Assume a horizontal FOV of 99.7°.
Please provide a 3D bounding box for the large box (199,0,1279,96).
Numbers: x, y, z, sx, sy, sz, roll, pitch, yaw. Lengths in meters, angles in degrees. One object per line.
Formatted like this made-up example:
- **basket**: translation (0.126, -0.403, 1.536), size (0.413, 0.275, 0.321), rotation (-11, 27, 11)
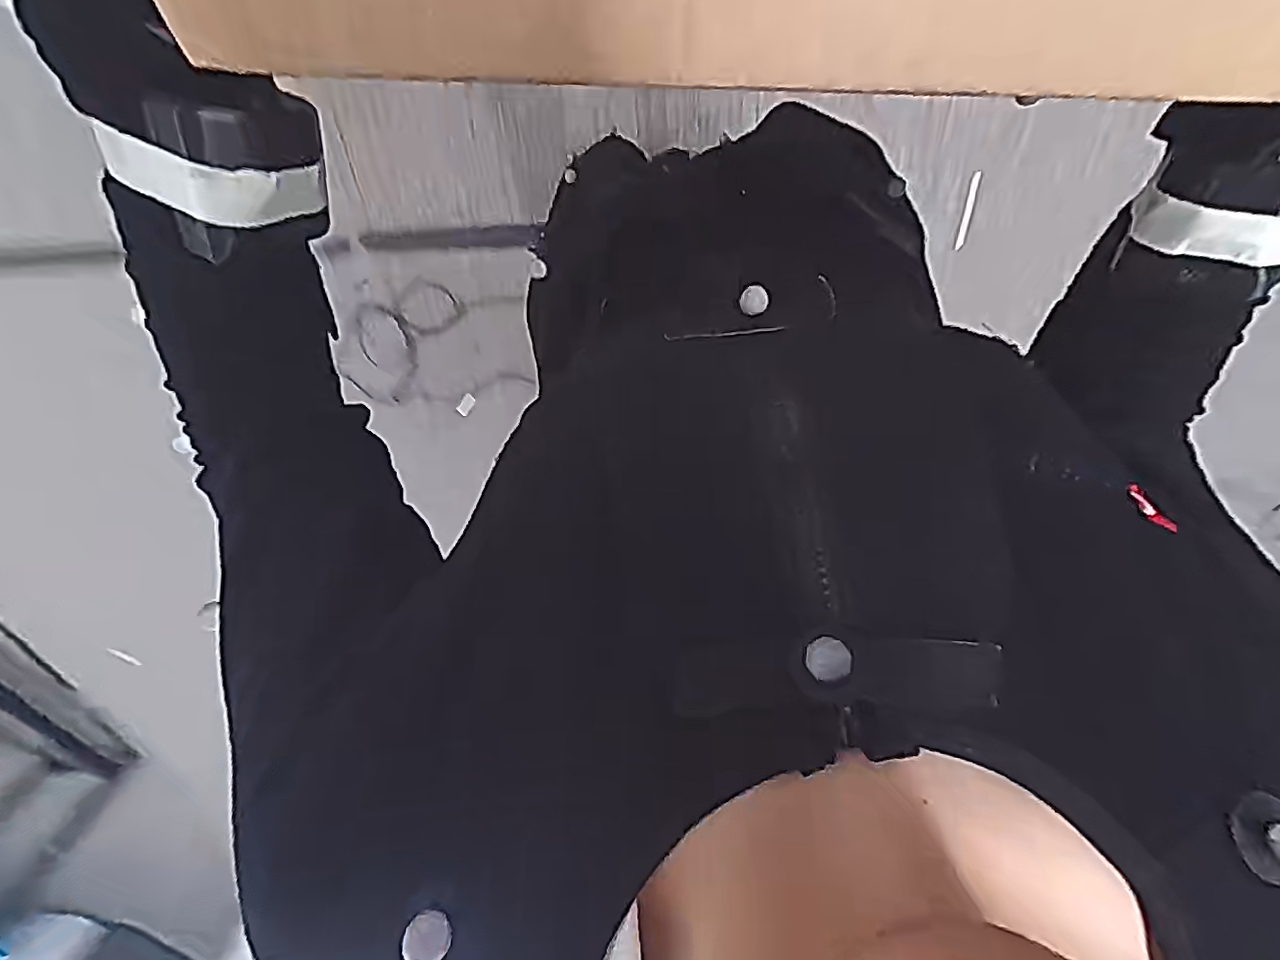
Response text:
- **large box**: translation (0.052, -0.365, 0.178), size (0.408, 0.320, 0.320), rotation (1, 140, -4)
